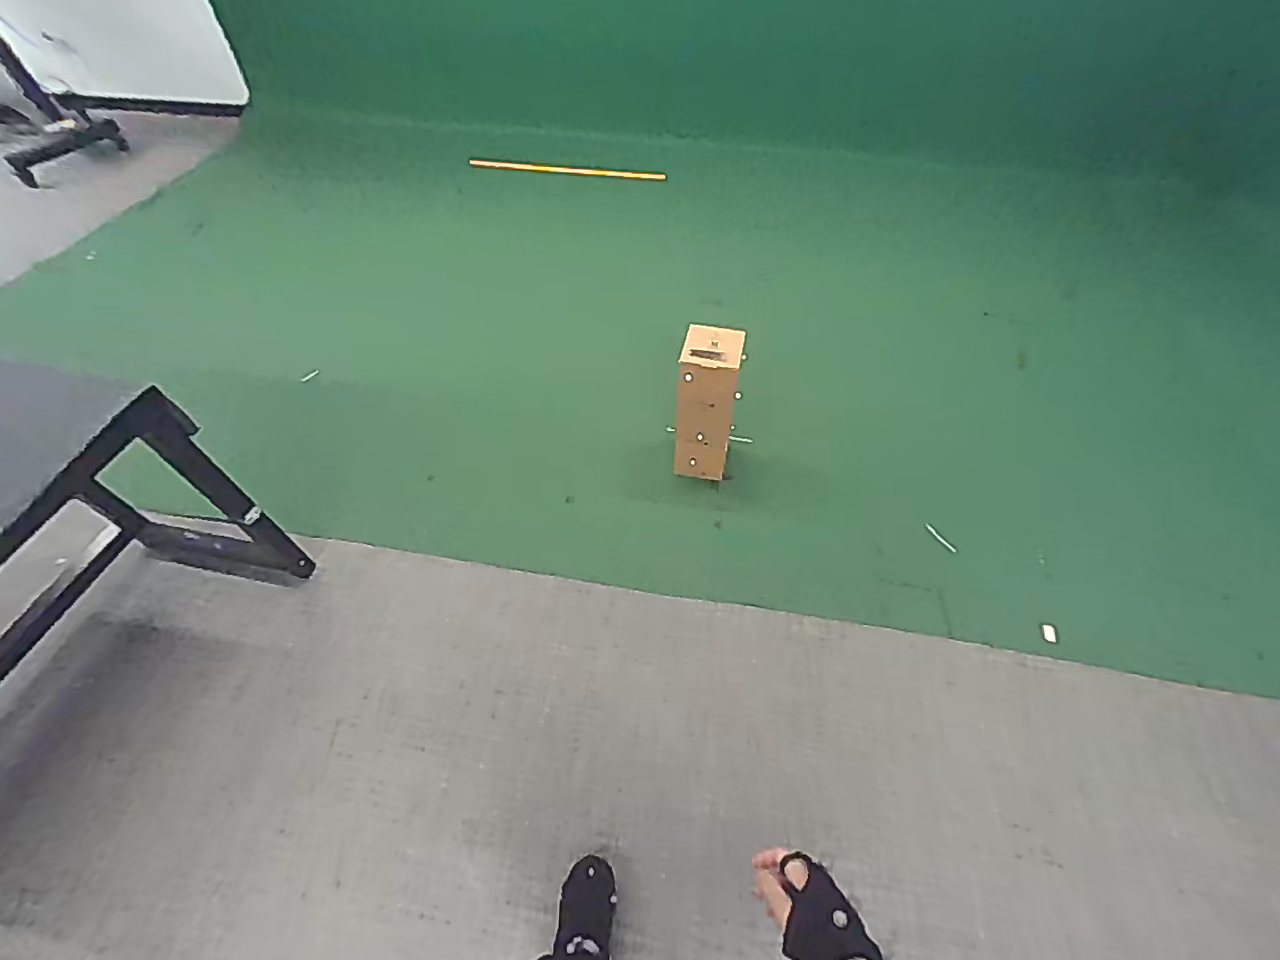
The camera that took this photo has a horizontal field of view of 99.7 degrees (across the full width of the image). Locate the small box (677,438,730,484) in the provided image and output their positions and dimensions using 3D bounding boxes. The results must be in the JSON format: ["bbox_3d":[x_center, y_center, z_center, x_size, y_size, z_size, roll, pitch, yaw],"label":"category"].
[{"bbox_3d":[0.219,-0.105,1.847,0.168,0.176,0.179,7,52,8],"label":"small box"}]

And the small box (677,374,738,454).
[{"bbox_3d":[0.212,-0.209,1.718,0.168,0.176,0.179,9,53,10],"label":"small box"}]
